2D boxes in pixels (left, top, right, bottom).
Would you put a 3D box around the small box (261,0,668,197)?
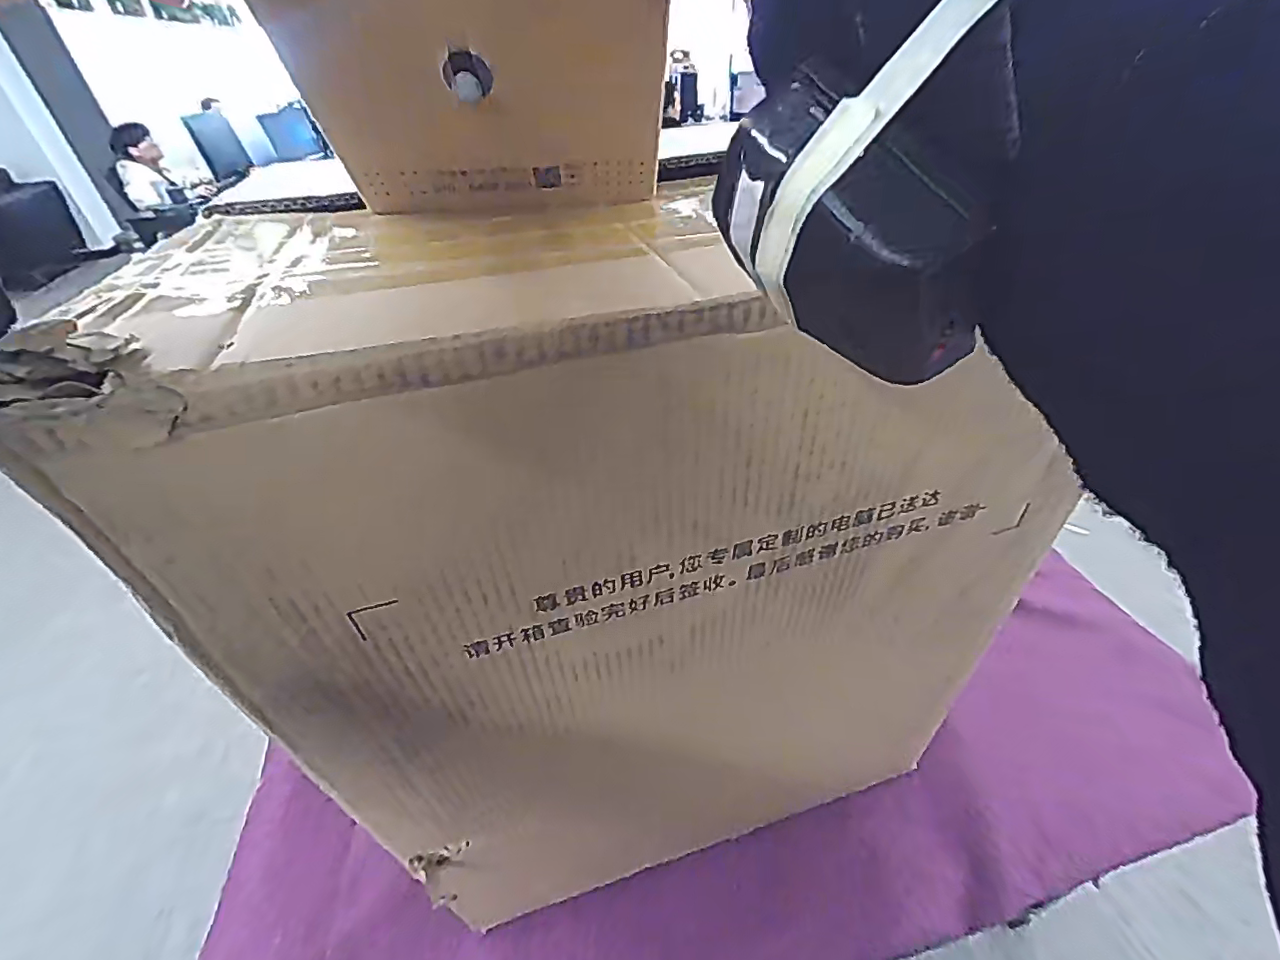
[{"bbox_3d":[-0.075,-0.262,0.260,0.168,0.176,0.179,-4,75,-4],"label":"small box"}]
